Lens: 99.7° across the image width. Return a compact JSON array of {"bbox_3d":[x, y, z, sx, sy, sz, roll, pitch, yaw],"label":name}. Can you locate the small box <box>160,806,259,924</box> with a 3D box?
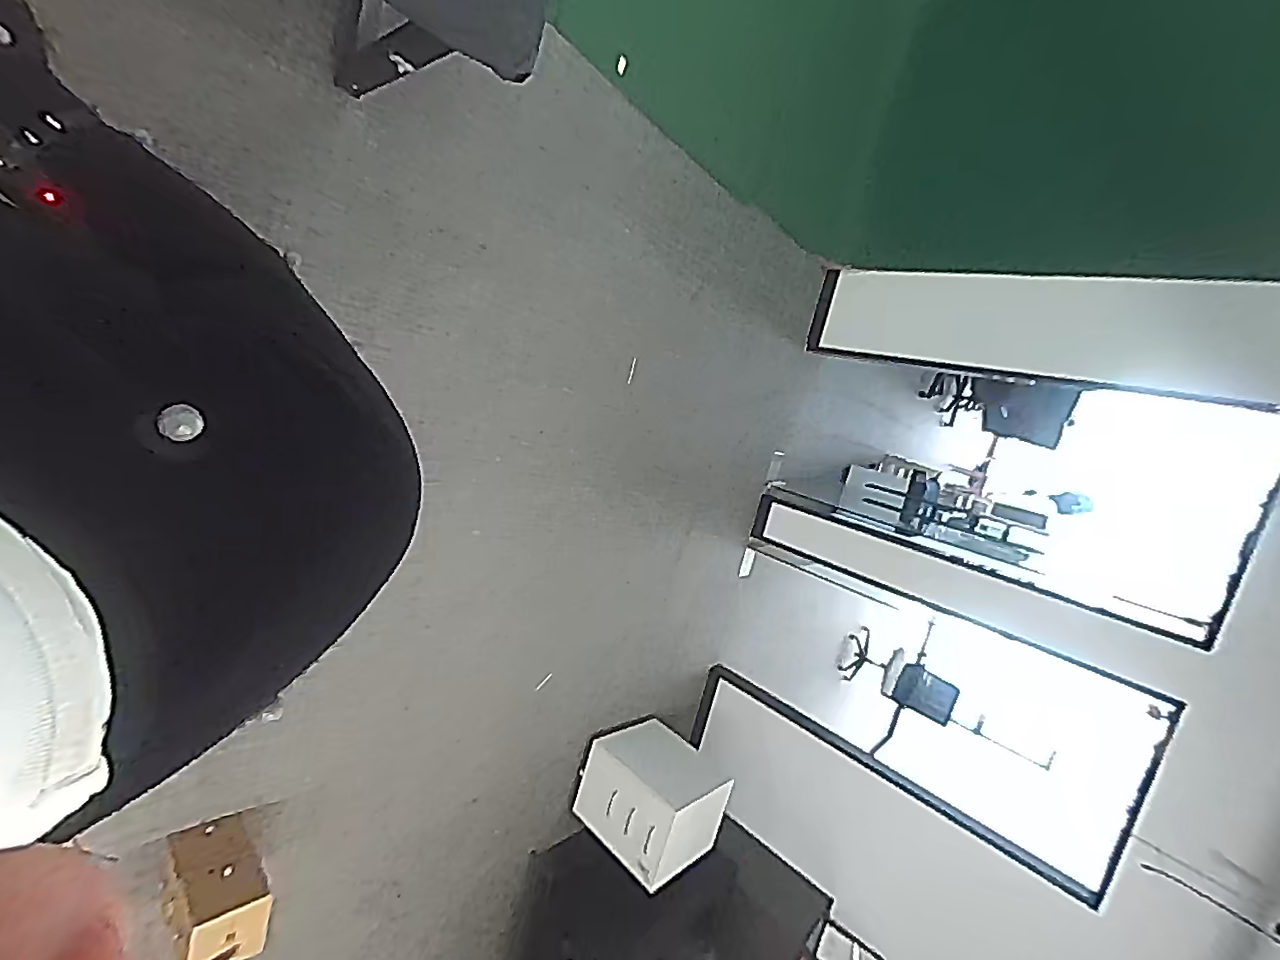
[{"bbox_3d":[-1.193,1.051,1.493,0.179,0.176,0.168,7,101,-50],"label":"small box"}]

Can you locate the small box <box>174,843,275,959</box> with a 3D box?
[{"bbox_3d":[-1.071,1.092,1.389,0.168,0.176,0.179,6,102,-51],"label":"small box"}]
